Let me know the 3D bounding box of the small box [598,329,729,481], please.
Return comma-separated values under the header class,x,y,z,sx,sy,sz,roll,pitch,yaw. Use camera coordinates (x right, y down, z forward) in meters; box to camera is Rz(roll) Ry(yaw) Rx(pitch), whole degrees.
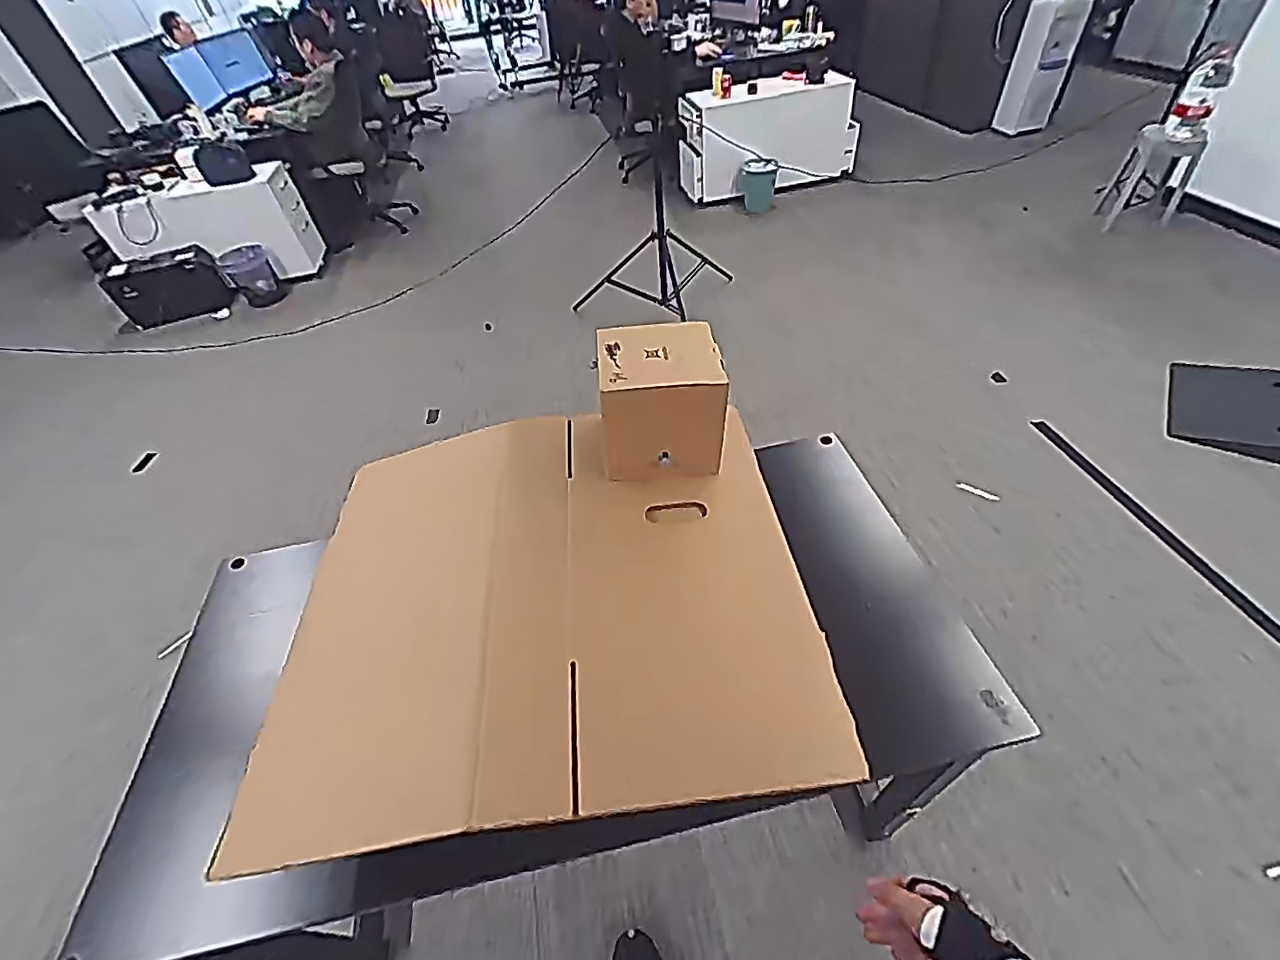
class,x,y,z,sx,sy,sz,roll,pitch,yaw
small box,0.028,-0.114,0.833,0.179,0.176,0.168,-4,44,-3
